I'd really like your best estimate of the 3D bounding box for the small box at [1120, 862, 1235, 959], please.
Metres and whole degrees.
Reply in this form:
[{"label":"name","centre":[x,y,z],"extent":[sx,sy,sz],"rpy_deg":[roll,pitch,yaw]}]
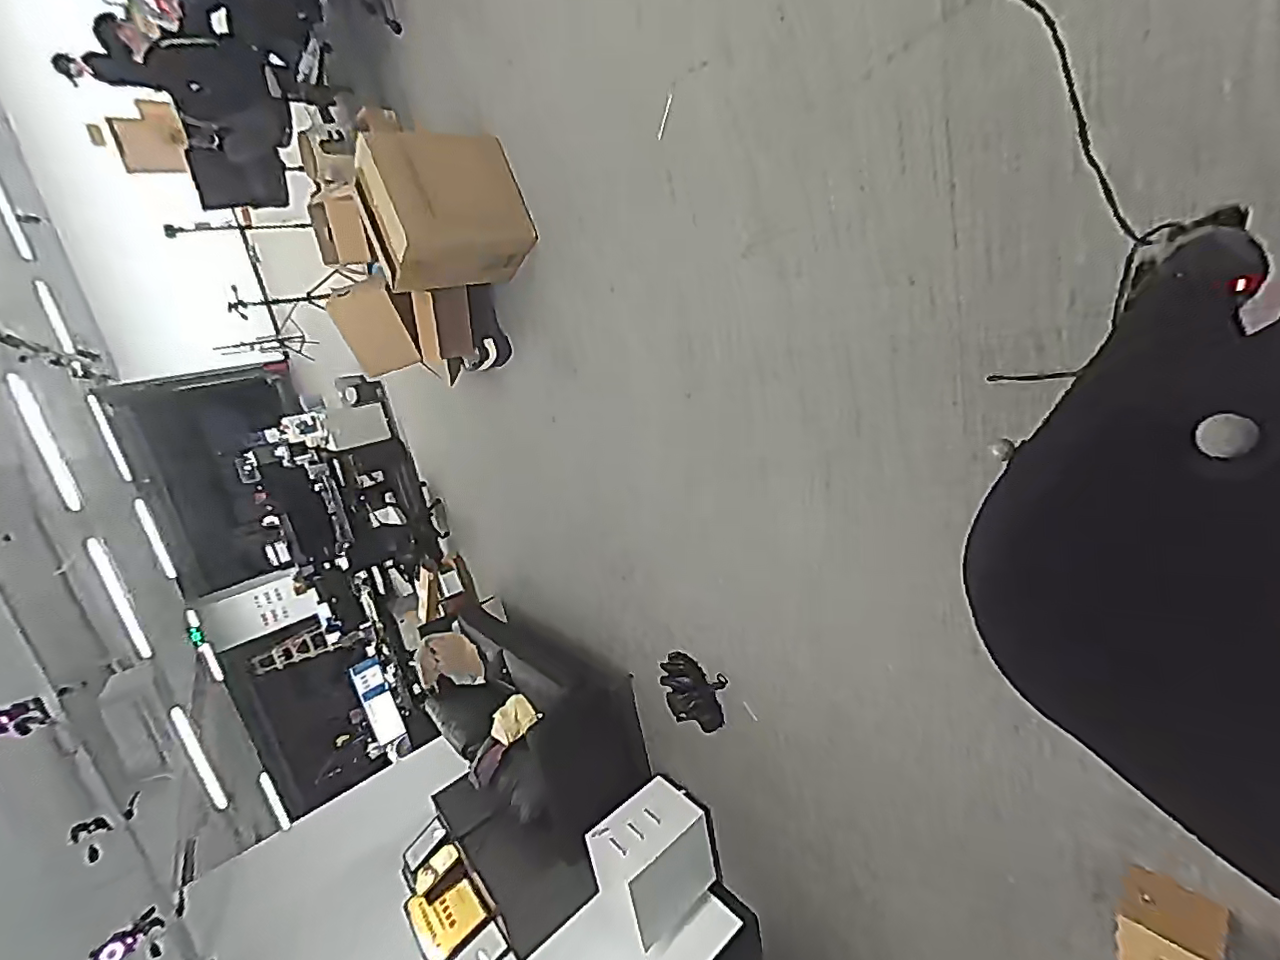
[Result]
[{"label":"small box","centre":[1.306,1.084,1.316],"extent":[0.179,0.176,0.168],"rpy_deg":[6,114,51]}]
